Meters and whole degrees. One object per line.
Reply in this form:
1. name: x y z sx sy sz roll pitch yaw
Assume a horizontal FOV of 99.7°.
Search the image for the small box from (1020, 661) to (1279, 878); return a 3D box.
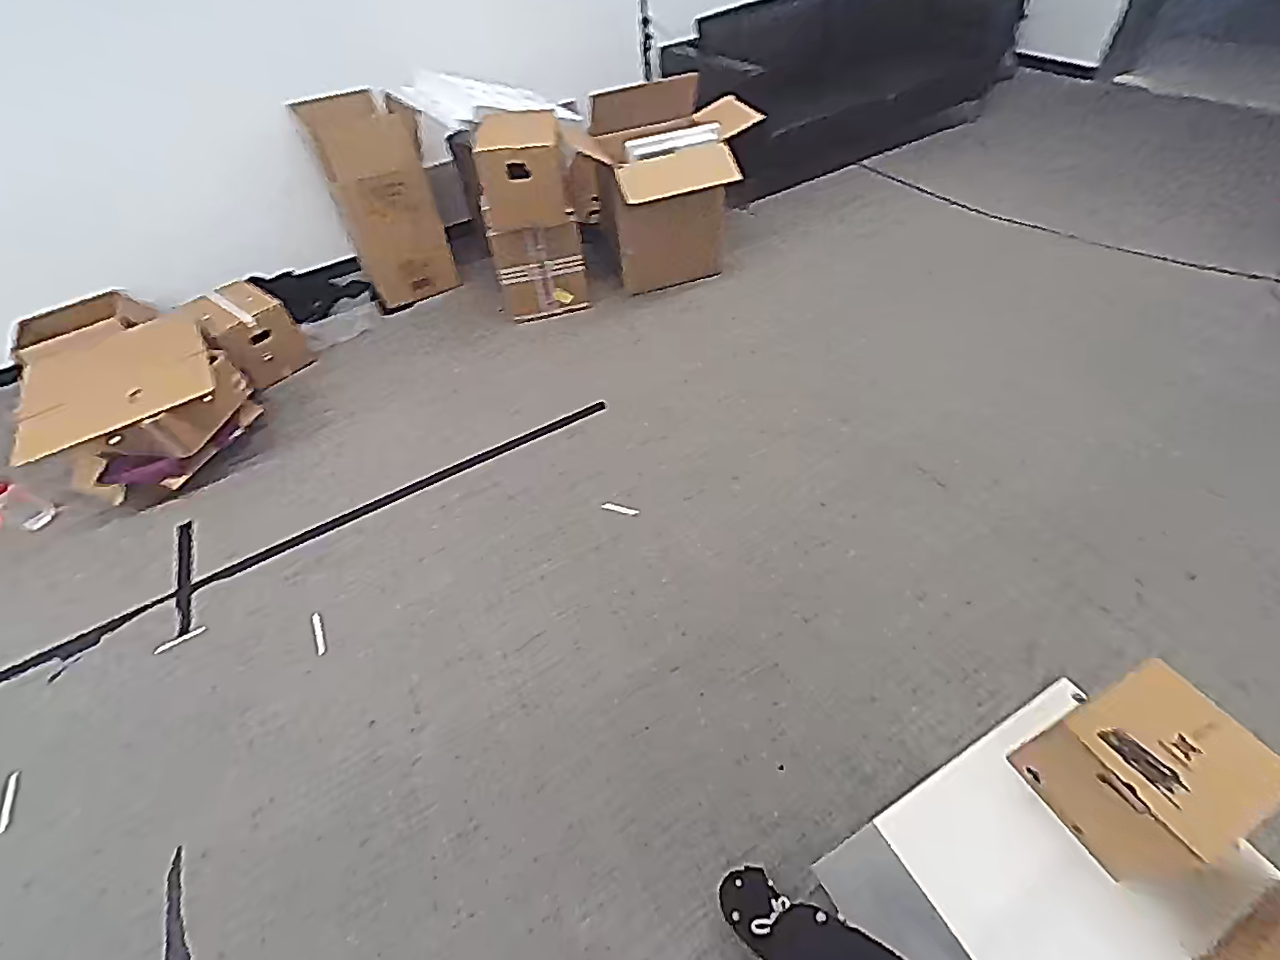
1. small box: 0.630 0.369 0.686 0.179 0.176 0.168 -24 51 -14
